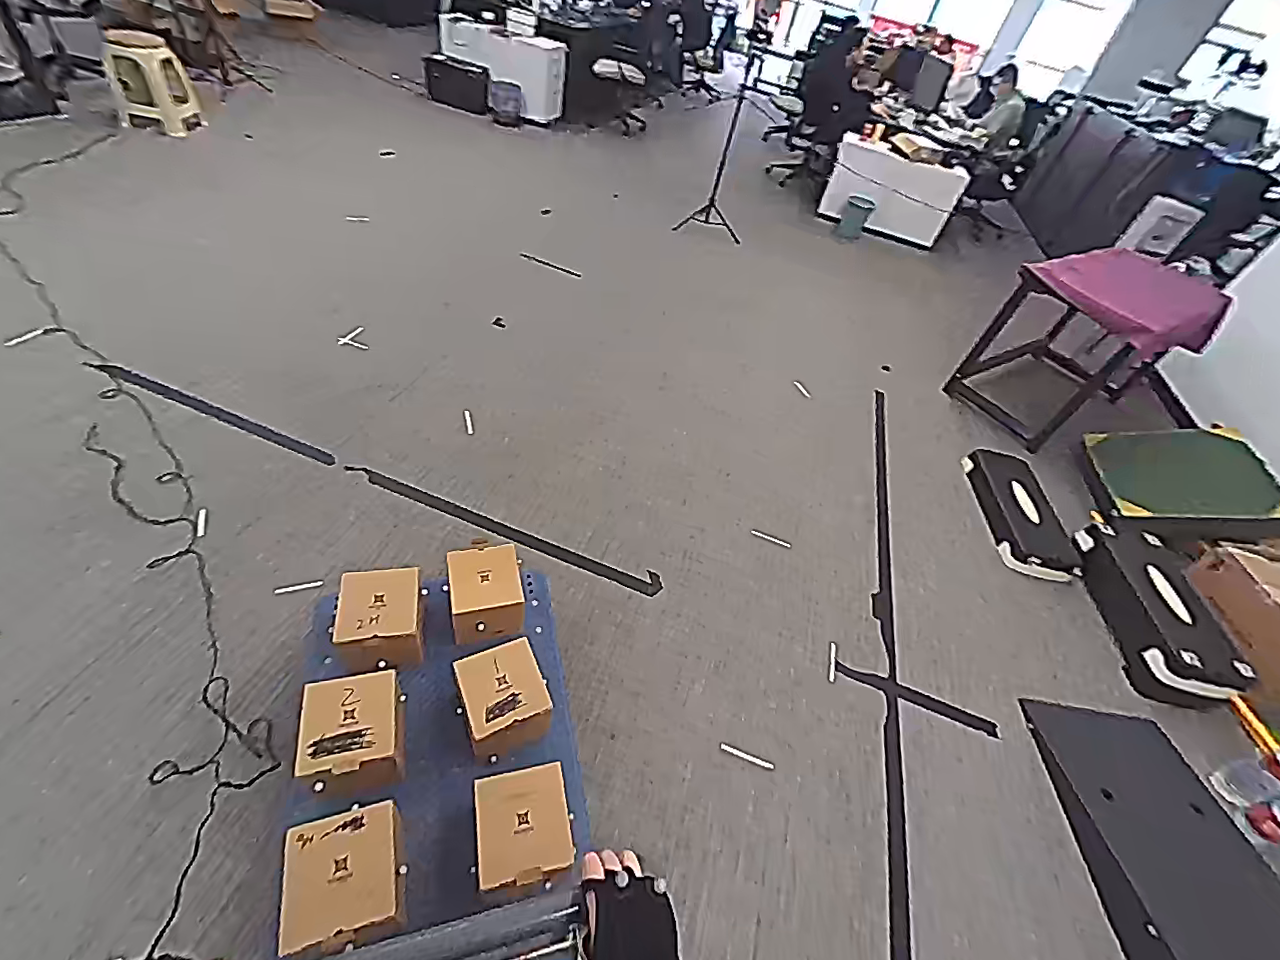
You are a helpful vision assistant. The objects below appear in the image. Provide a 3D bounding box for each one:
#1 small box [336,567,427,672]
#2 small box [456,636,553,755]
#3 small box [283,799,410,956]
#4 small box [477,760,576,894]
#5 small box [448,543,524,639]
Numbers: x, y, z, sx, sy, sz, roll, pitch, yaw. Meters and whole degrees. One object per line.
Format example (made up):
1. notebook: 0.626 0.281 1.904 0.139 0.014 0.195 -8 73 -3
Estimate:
1. small box: -0.599 0.327 1.272 0.168 0.176 0.179 -2 49 -17
2. small box: -0.303 0.486 1.205 0.168 0.176 0.179 -14 52 -26
3. small box: -0.505 0.697 0.951 0.168 0.176 0.179 -6 50 -22
4. small box: -0.224 0.676 1.049 0.168 0.176 0.179 -3 48 -18
5. small box: -0.389 0.287 1.370 0.168 0.176 0.179 -6 50 -20
